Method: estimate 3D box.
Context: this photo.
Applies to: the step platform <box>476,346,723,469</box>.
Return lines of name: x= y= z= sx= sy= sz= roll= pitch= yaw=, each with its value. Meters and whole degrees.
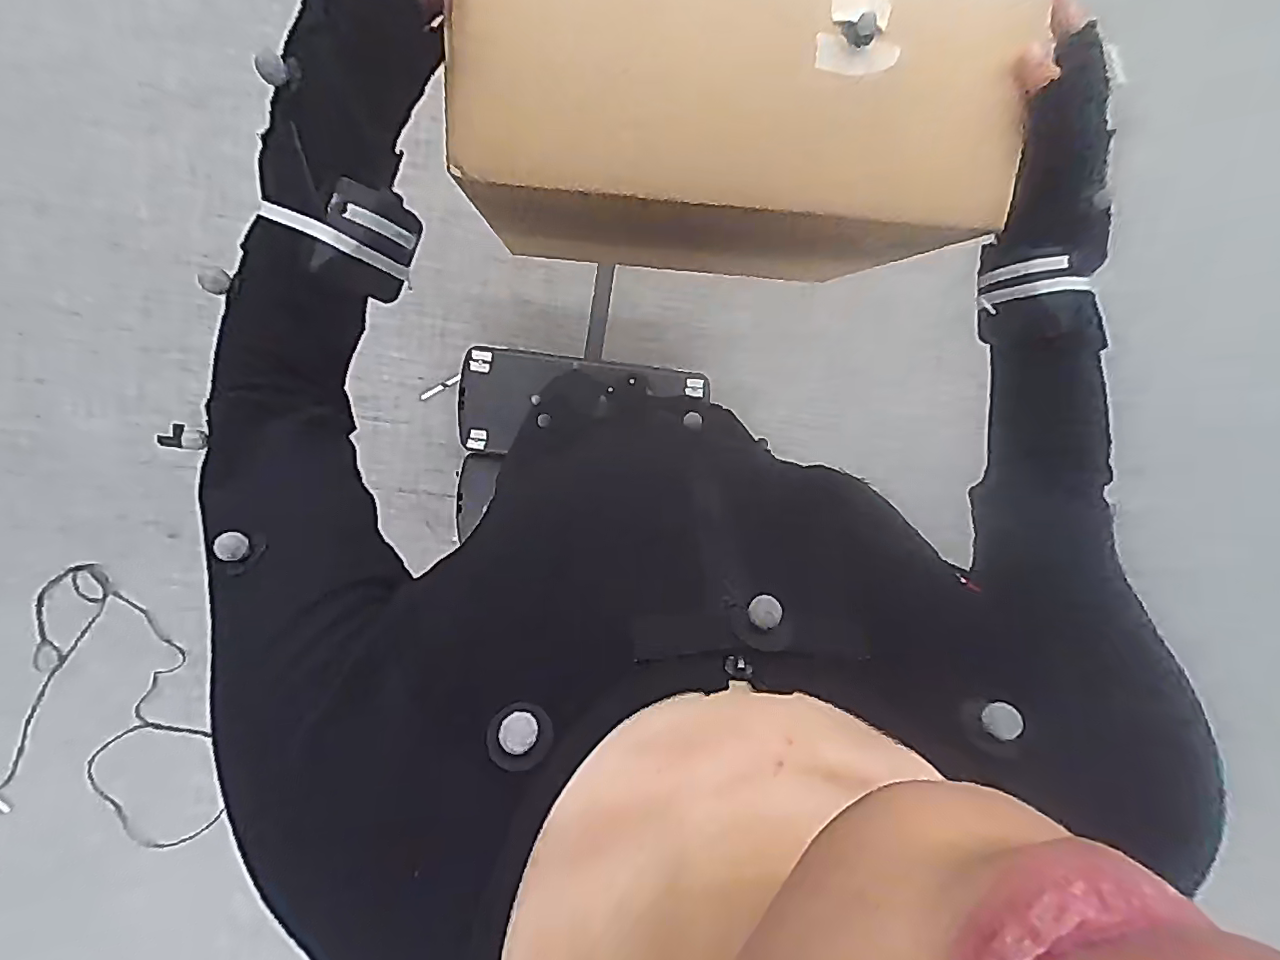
step platform: x=-0.110 y=-0.202 z=1.532 sx=0.684 sy=0.204 sz=0.286 roll=5 pitch=100 yaw=-8

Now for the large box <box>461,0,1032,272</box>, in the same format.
large box: x=0.064 y=-0.387 z=0.505 sx=0.408 sy=0.320 sz=0.320 roll=1 pitch=104 yaw=-7
